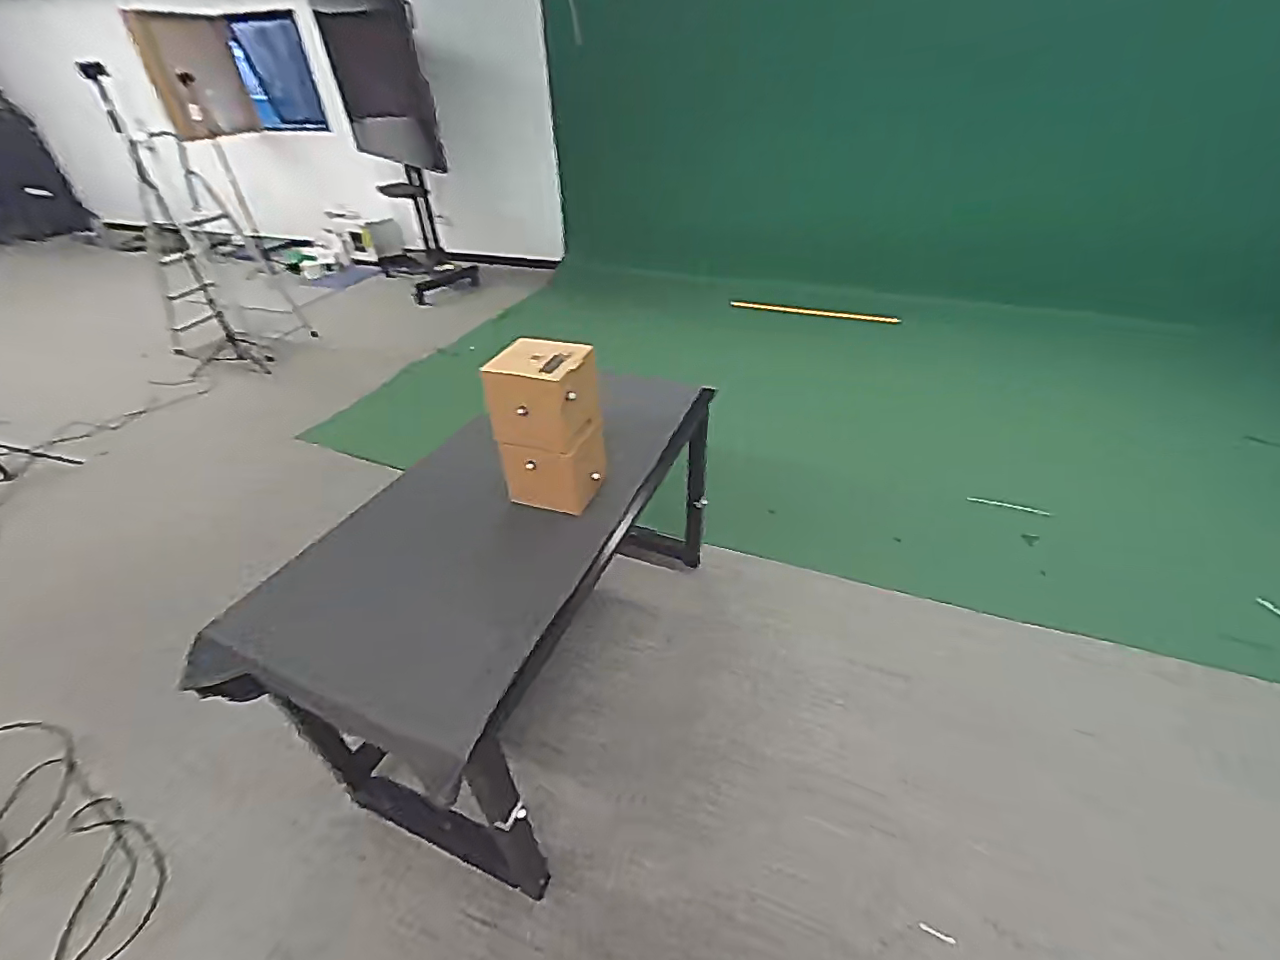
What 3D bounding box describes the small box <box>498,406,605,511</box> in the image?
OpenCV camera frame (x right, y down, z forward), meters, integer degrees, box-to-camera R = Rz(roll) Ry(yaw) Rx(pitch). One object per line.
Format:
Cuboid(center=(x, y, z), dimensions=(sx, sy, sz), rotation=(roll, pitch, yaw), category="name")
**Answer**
Cuboid(center=(-0.191, -0.048, 1.227), dimensions=(0.179, 0.176, 0.168), rotation=(10, 39, 16), category="small box")
